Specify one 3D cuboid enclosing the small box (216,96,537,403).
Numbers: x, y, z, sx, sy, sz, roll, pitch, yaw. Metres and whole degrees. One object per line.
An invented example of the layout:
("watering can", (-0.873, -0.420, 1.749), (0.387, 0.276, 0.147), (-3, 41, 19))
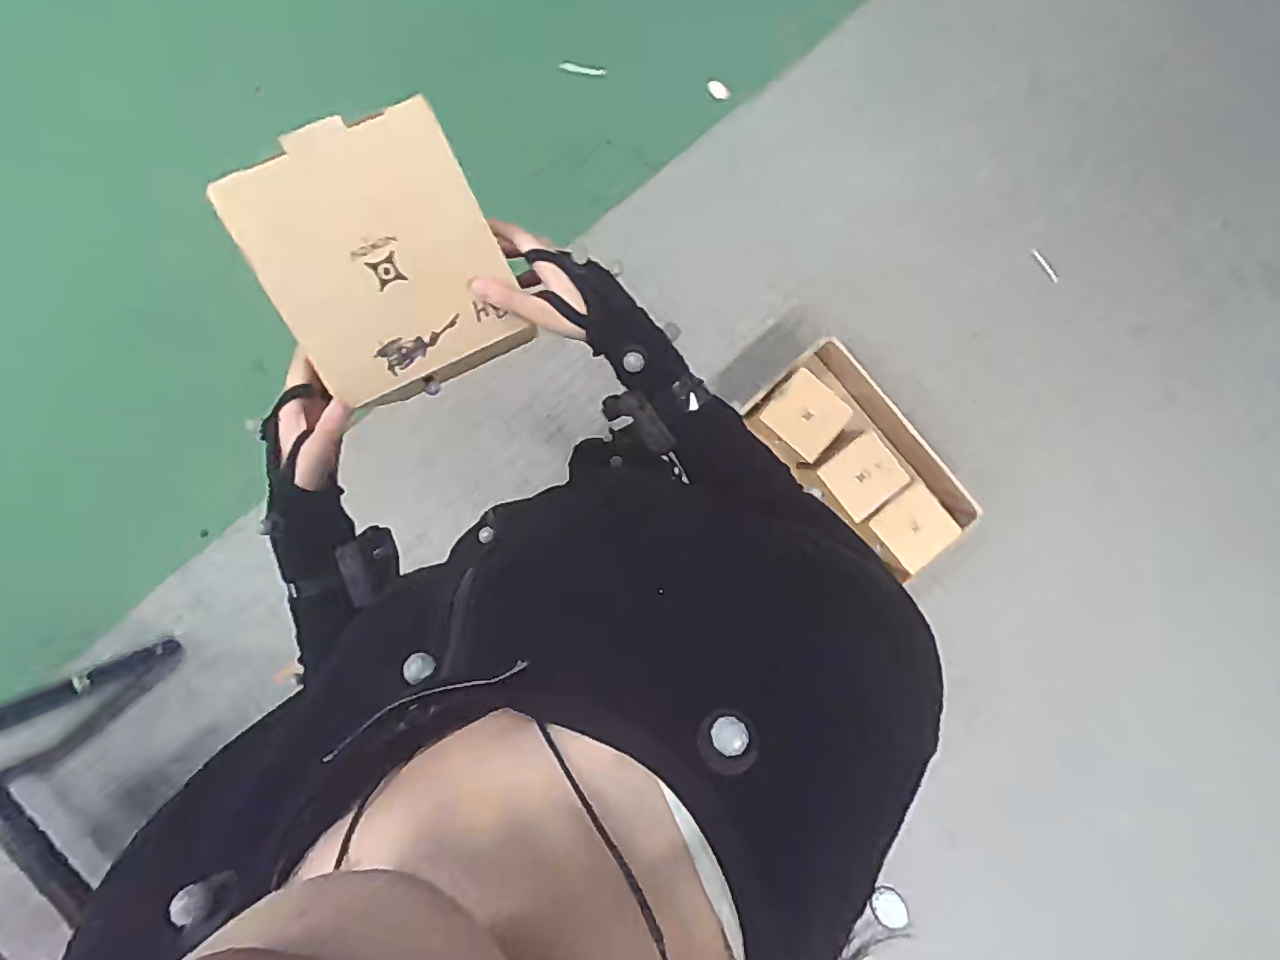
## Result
("small box", (-0.204, -0.181, 0.480), (0.168, 0.176, 0.179), (-27, 103, -4))
